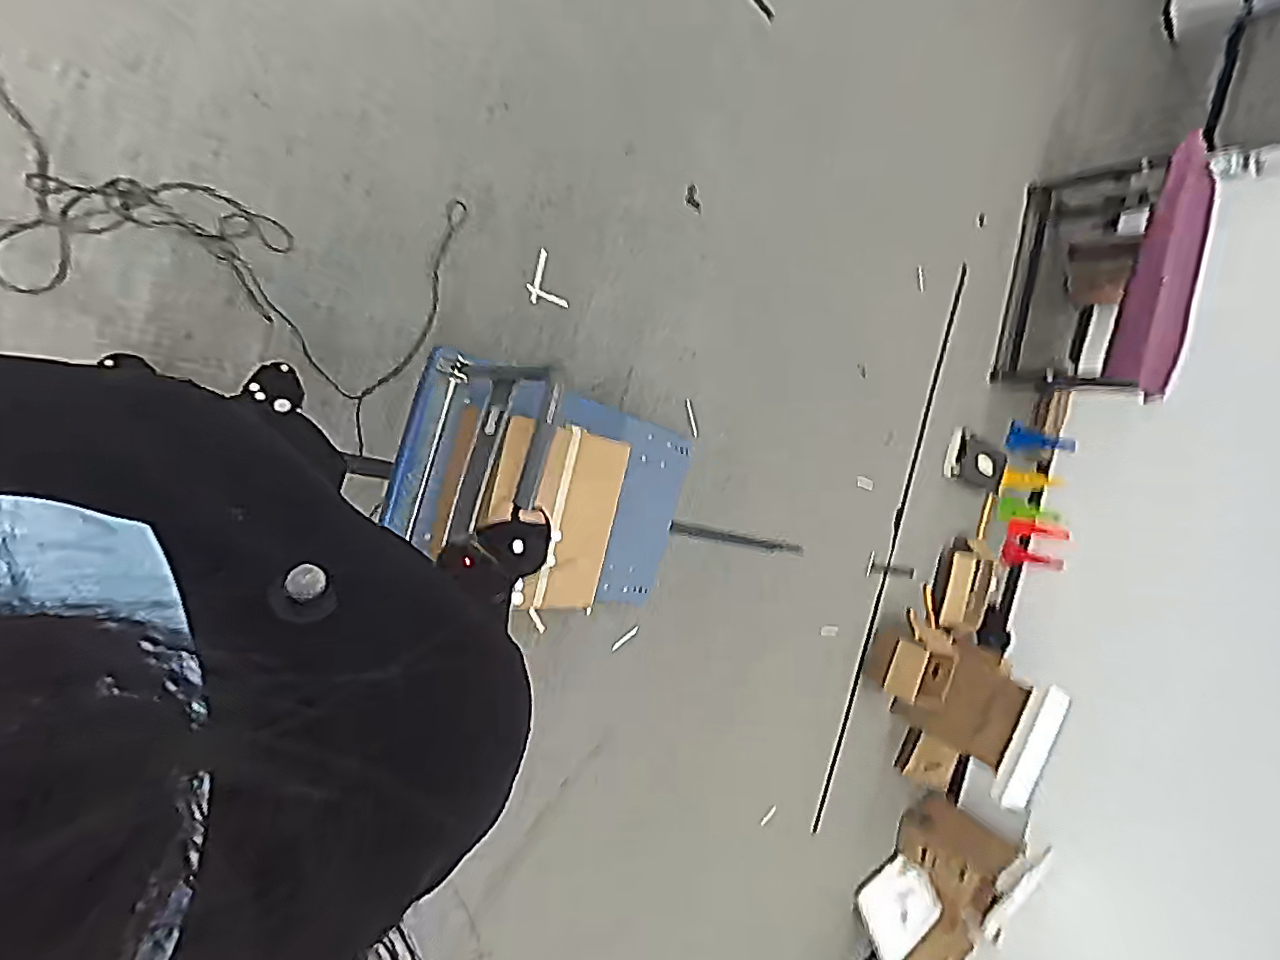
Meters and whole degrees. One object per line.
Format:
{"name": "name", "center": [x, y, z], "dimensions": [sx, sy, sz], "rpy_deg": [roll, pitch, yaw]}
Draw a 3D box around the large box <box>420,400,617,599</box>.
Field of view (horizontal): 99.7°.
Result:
{"name": "large box", "center": [-0.303, 0.043, 1.315], "dimensions": [0.320, 0.320, 0.408], "rpy_deg": [11, 94, -38]}
